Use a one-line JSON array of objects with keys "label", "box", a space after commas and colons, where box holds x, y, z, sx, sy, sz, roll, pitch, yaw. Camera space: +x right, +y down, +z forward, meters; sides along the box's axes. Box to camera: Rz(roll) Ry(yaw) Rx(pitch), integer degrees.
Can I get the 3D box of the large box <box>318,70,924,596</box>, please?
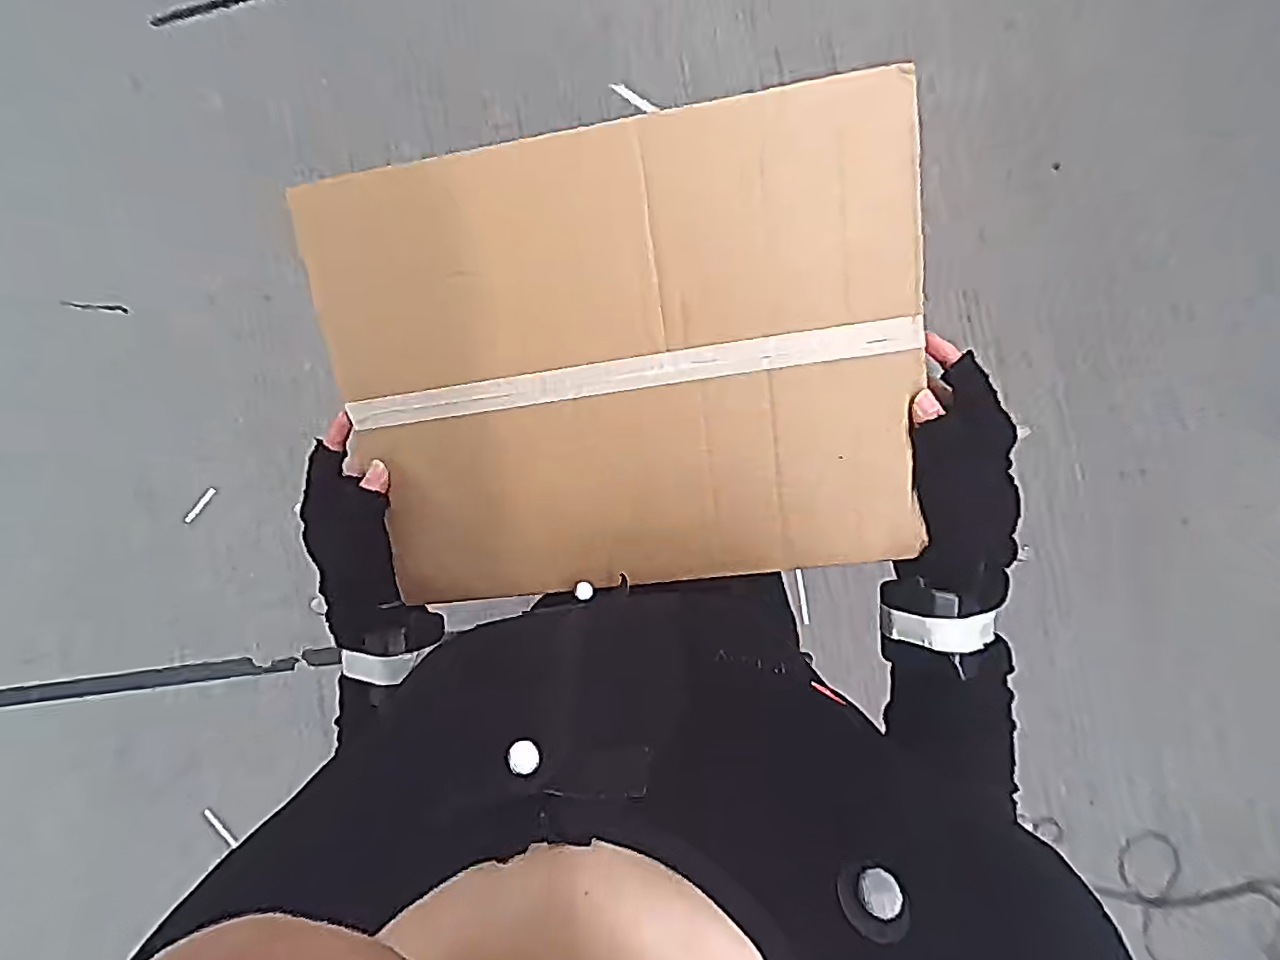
[{"label": "large box", "box": [0.002, -0.111, 0.529, 0.408, 0.320, 0.320, -7, 104, 7]}]
